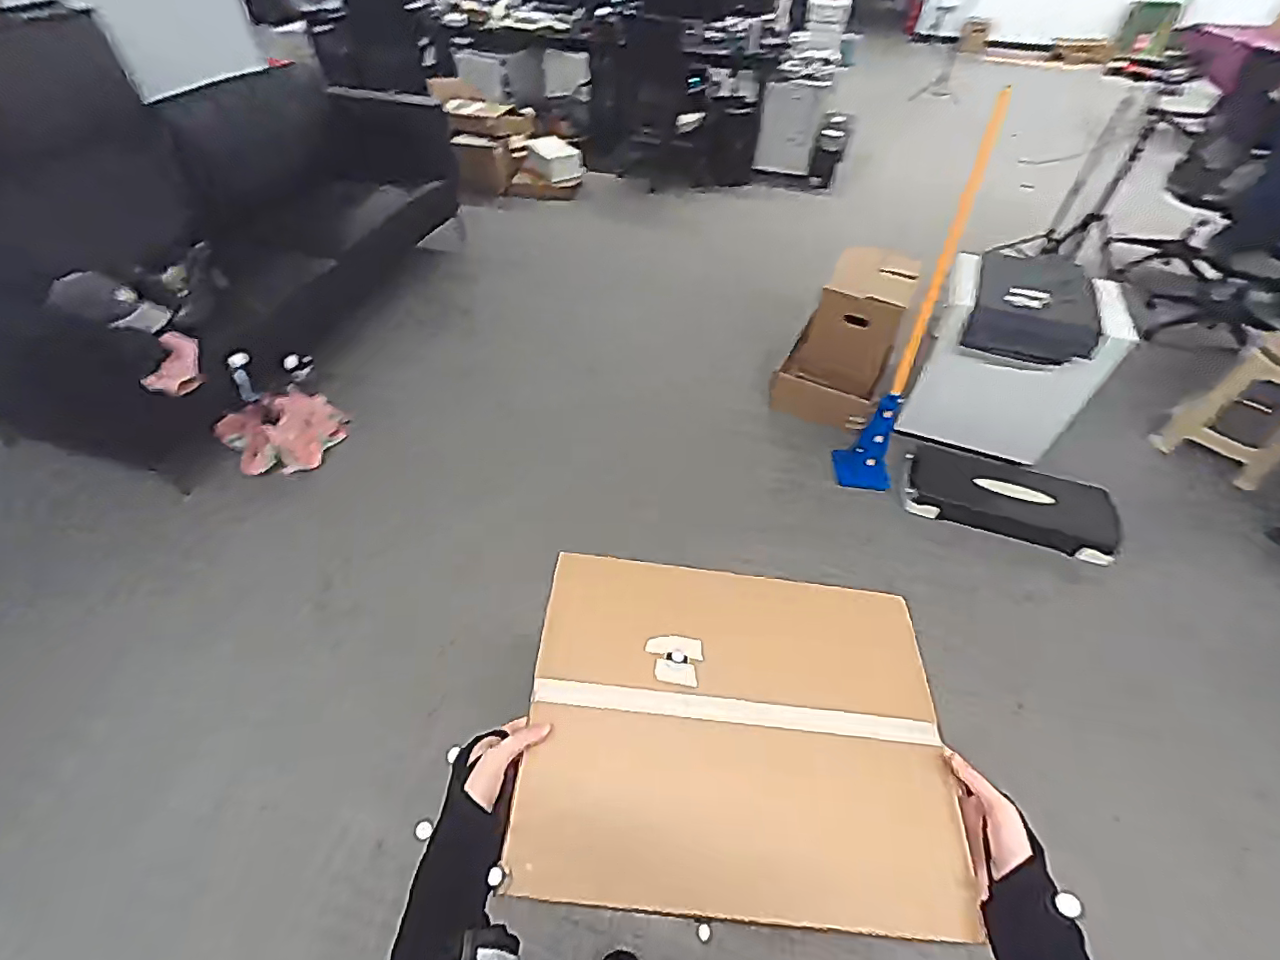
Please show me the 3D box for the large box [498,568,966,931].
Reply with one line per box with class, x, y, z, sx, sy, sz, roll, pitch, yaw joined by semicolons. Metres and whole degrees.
large box;0.076;0.330;0.654;0.408;0.320;0.320;6;51;-2
